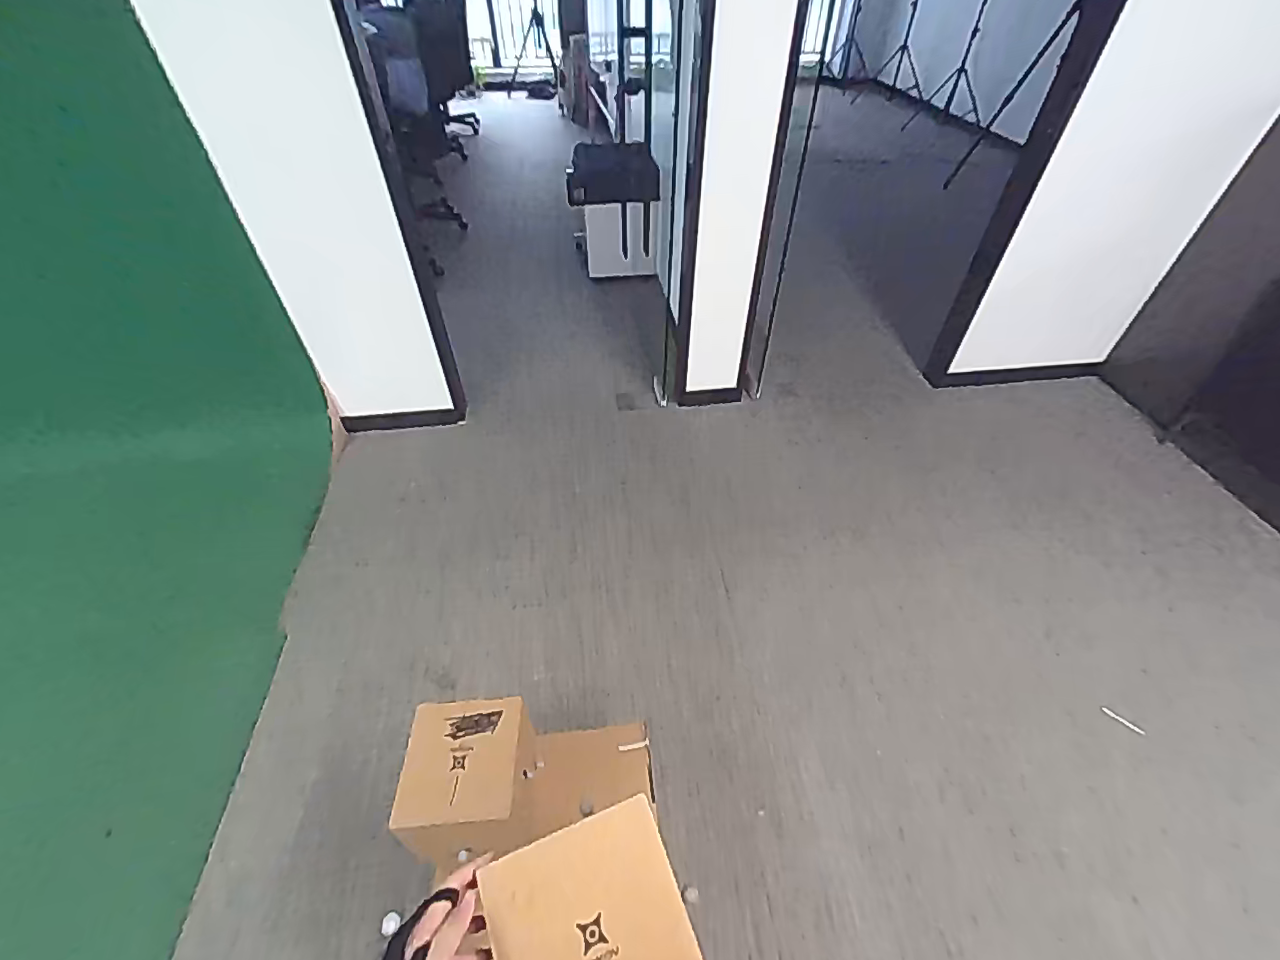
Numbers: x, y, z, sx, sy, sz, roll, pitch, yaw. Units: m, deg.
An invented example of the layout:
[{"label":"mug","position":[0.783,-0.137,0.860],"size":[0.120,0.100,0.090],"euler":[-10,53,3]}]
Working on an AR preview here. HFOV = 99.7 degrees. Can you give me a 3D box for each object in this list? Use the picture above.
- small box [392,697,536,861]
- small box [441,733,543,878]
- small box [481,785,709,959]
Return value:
[{"label":"small box","position":[-0.260,0.466,0.847],"size":[0.168,0.176,0.179],"euler":[-4,42,-3]},{"label":"small box","position":[-0.268,0.579,0.968],"size":[0.168,0.176,0.179],"euler":[-5,42,-4]},{"label":"small box","position":[-0.042,0.426,0.530],"size":[0.168,0.176,0.179],"euler":[-19,64,-13]}]
